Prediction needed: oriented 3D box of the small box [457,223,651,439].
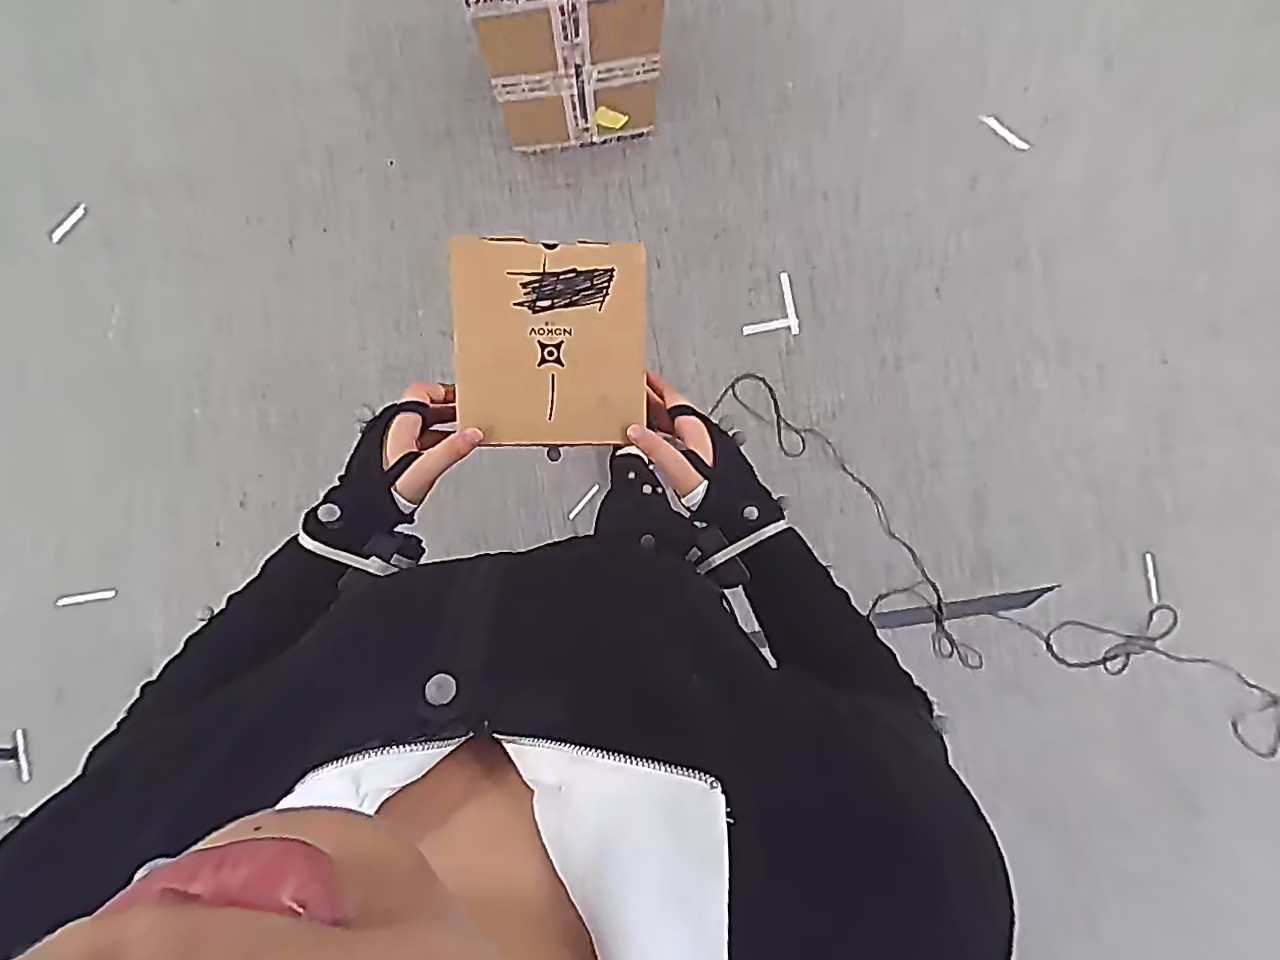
[{"bbox_3d":[-0.081,-0.132,0.542,0.168,0.176,0.179,0,94,-6],"label":"small box"}]
